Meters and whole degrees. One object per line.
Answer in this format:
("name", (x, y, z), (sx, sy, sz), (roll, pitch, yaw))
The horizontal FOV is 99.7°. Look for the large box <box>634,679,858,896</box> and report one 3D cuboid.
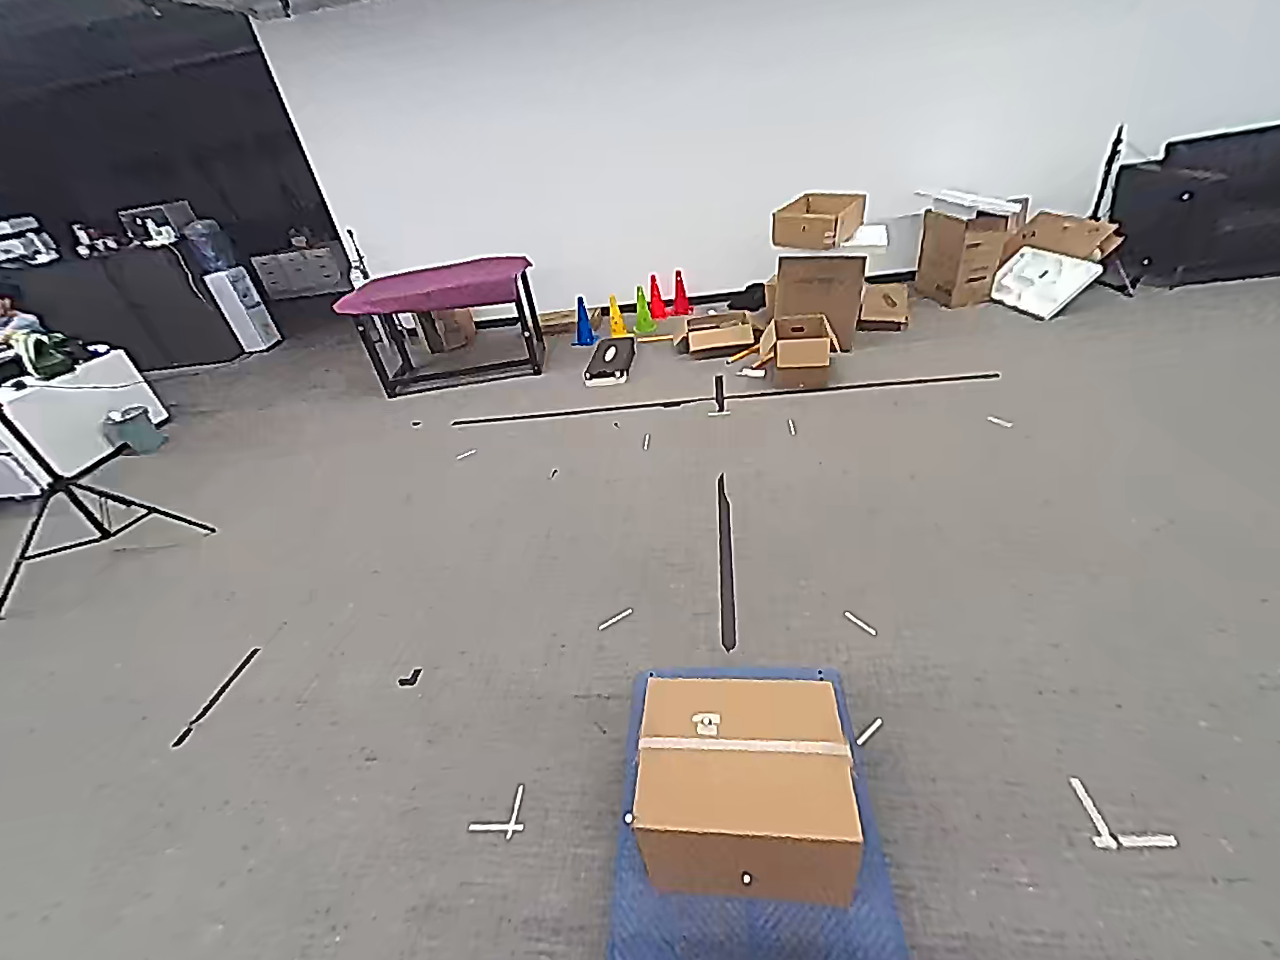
("large box", (0.222, 0.657, 1.171), (0.408, 0.320, 0.320), (-4, 34, 10))
